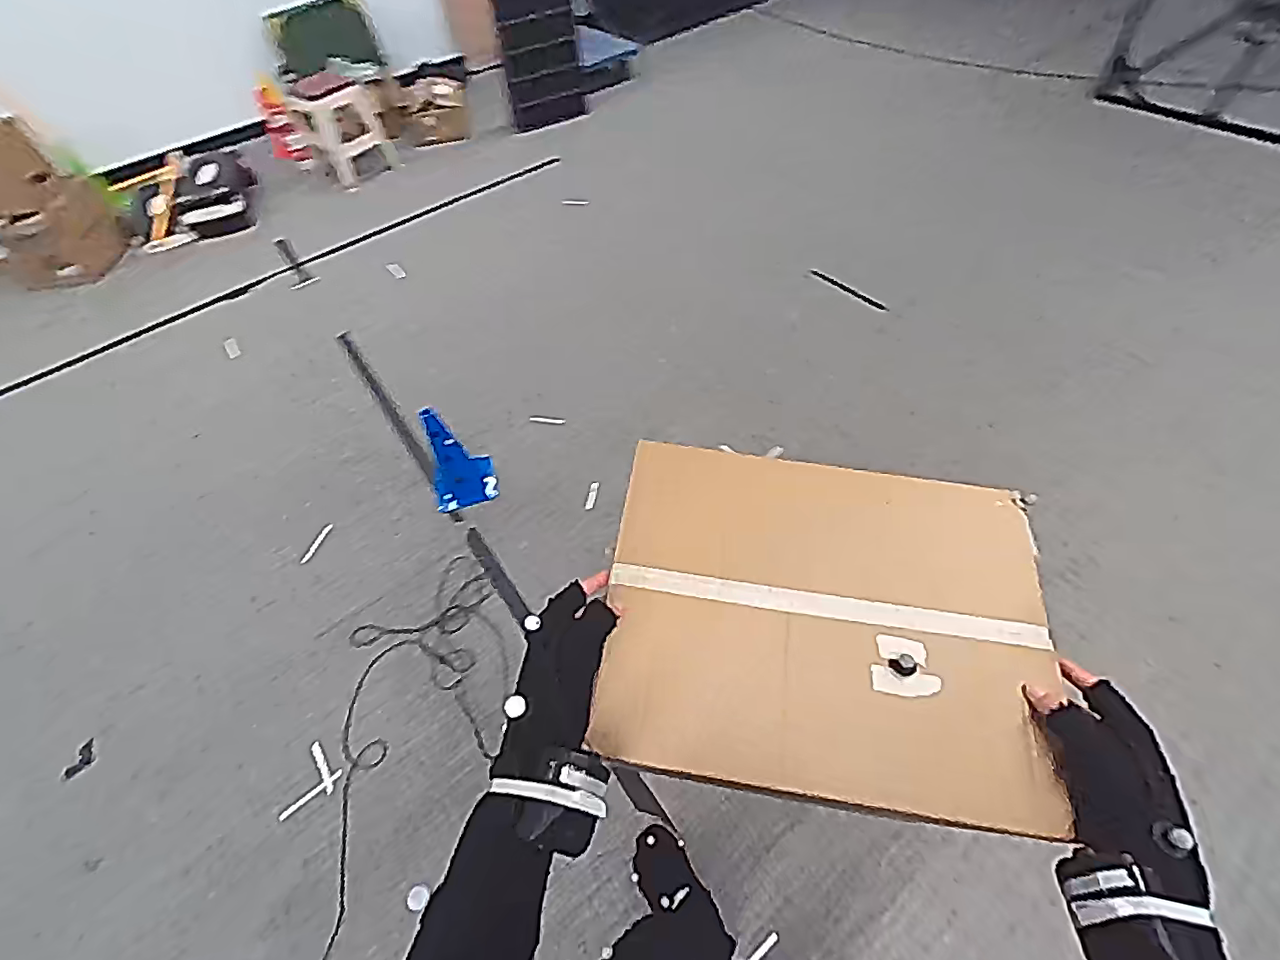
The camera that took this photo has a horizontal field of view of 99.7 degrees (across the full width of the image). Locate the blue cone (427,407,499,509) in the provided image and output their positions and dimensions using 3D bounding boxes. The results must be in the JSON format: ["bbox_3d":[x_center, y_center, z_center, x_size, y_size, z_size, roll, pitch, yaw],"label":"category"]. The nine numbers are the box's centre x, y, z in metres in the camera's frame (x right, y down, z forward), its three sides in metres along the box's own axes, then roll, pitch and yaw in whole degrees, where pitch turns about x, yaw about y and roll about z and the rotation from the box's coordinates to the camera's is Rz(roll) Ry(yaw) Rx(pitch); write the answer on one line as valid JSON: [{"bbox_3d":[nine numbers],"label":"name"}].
[{"bbox_3d":[-0.601,-0.086,1.753,0.193,0.380,0.192,-16,54,-6],"label":"blue cone"}]
